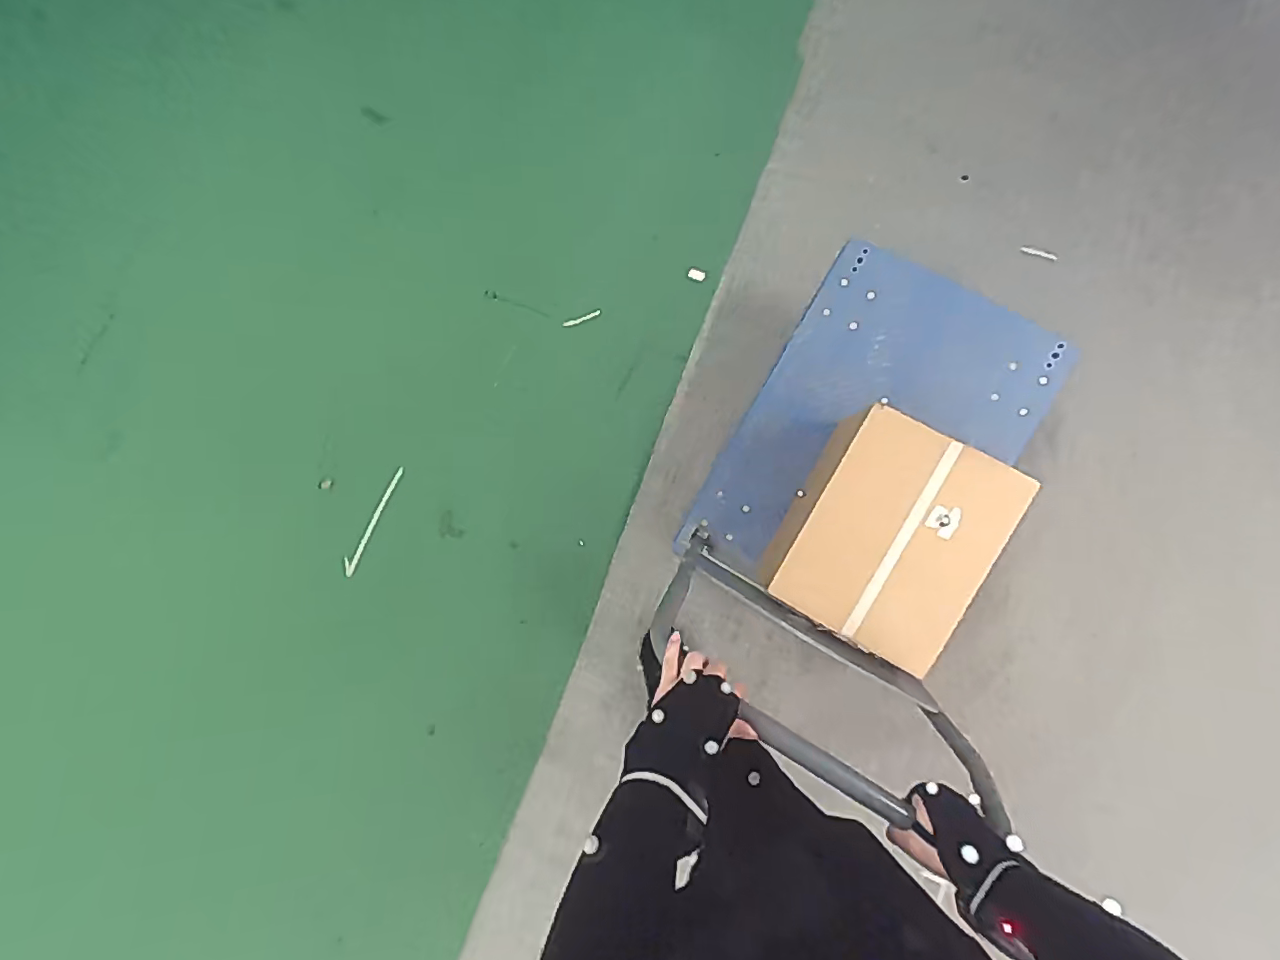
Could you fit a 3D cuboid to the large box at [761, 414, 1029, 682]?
[{"bbox_3d":[0.488,0.128,1.134,0.320,0.320,0.408,30,93,7],"label":"large box"}]
